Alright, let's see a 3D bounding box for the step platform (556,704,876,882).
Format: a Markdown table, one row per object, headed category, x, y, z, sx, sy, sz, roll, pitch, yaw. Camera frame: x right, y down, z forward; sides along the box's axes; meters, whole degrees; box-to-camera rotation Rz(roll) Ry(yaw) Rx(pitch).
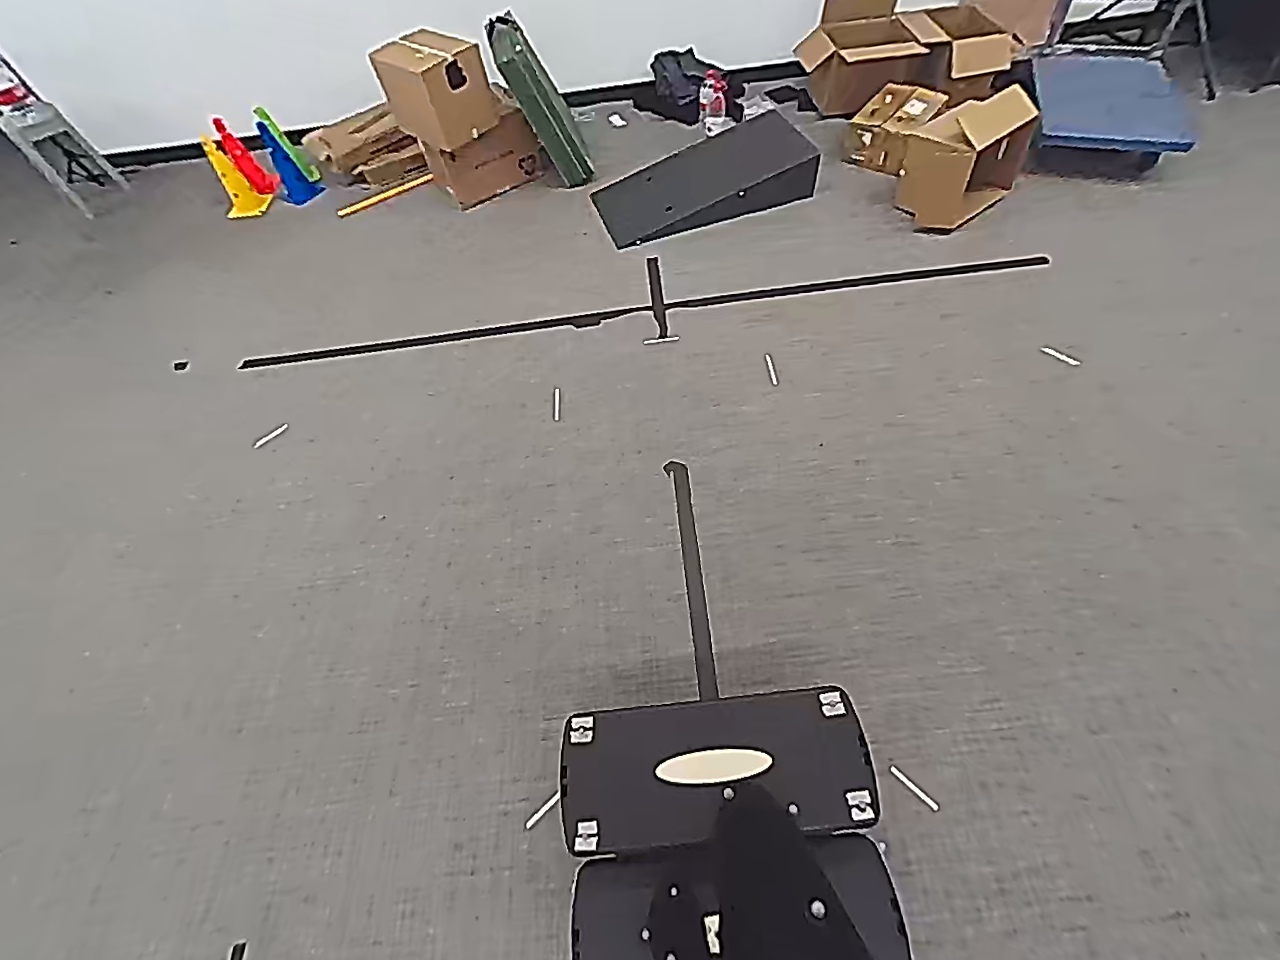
| category | x | y | z | sx | sy | sz | roll | pitch | yaw |
| --- | --- | --- | --- | --- | --- | --- | --- | --- | --- |
| step platform | 0.155 | 0.695 | 1.217 | 0.684 | 0.204 | 0.286 | -7 | 57 | 0 |
